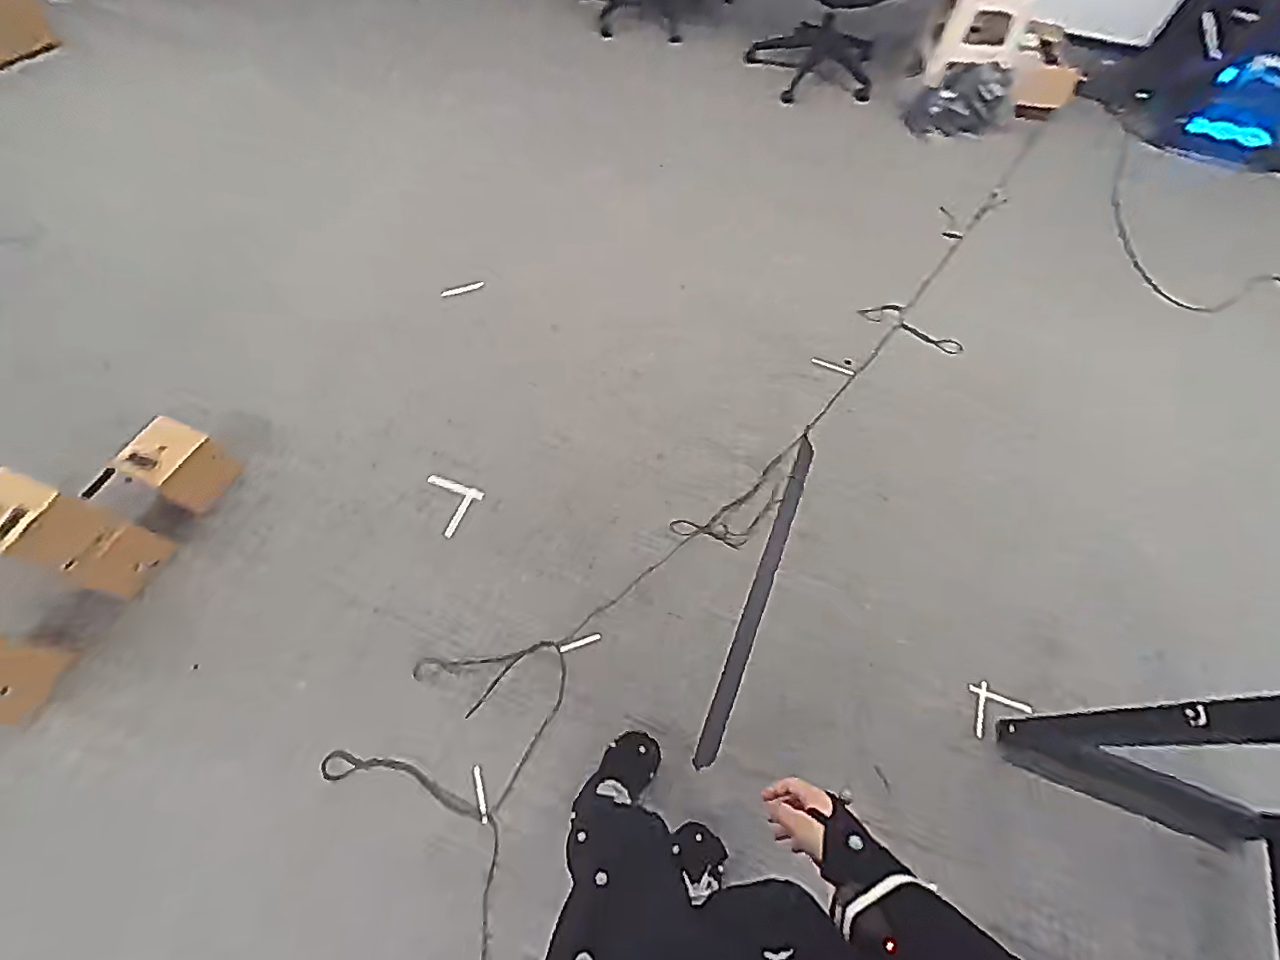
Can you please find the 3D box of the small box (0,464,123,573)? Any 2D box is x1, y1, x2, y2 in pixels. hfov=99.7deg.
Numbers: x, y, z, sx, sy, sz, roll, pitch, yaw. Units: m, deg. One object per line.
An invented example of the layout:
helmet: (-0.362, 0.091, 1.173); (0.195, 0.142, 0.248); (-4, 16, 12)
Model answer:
small box: (-1.362, 0.095, 1.233); (0.179, 0.176, 0.168); (20, 64, 9)

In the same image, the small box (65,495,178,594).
small box: (-1.358, 0.170, 1.379); (0.179, 0.176, 0.168); (24, 65, 9)

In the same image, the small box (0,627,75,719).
small box: (-1.485, 0.439, 1.240); (0.168, 0.176, 0.179); (14, 64, 4)
